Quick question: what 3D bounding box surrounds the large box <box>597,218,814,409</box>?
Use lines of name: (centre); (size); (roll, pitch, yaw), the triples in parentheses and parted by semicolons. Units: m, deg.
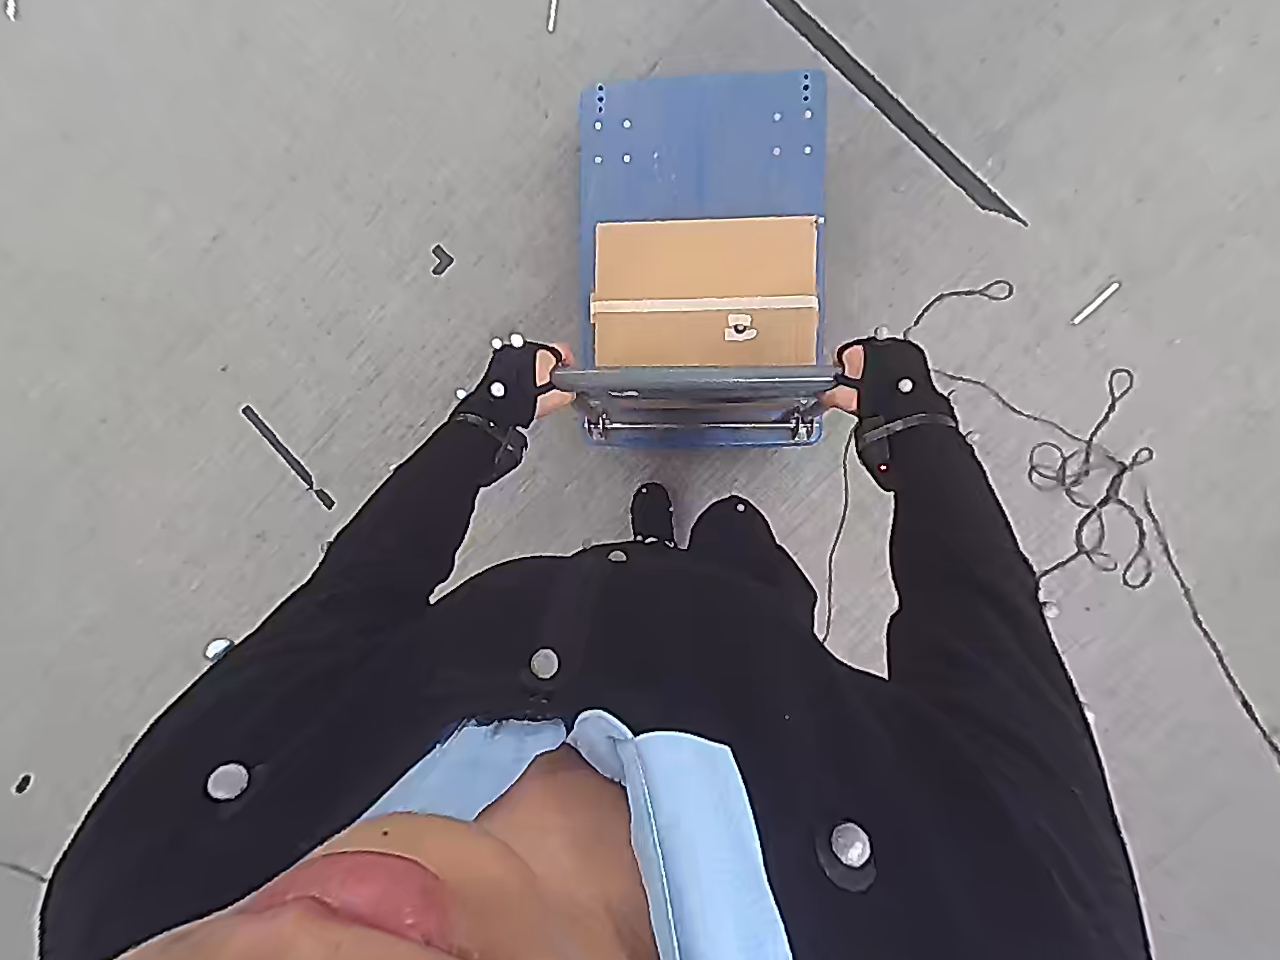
large box: (0.128, -0.325, 1.147); (0.408, 0.320, 0.320); (0, 92, 4)
